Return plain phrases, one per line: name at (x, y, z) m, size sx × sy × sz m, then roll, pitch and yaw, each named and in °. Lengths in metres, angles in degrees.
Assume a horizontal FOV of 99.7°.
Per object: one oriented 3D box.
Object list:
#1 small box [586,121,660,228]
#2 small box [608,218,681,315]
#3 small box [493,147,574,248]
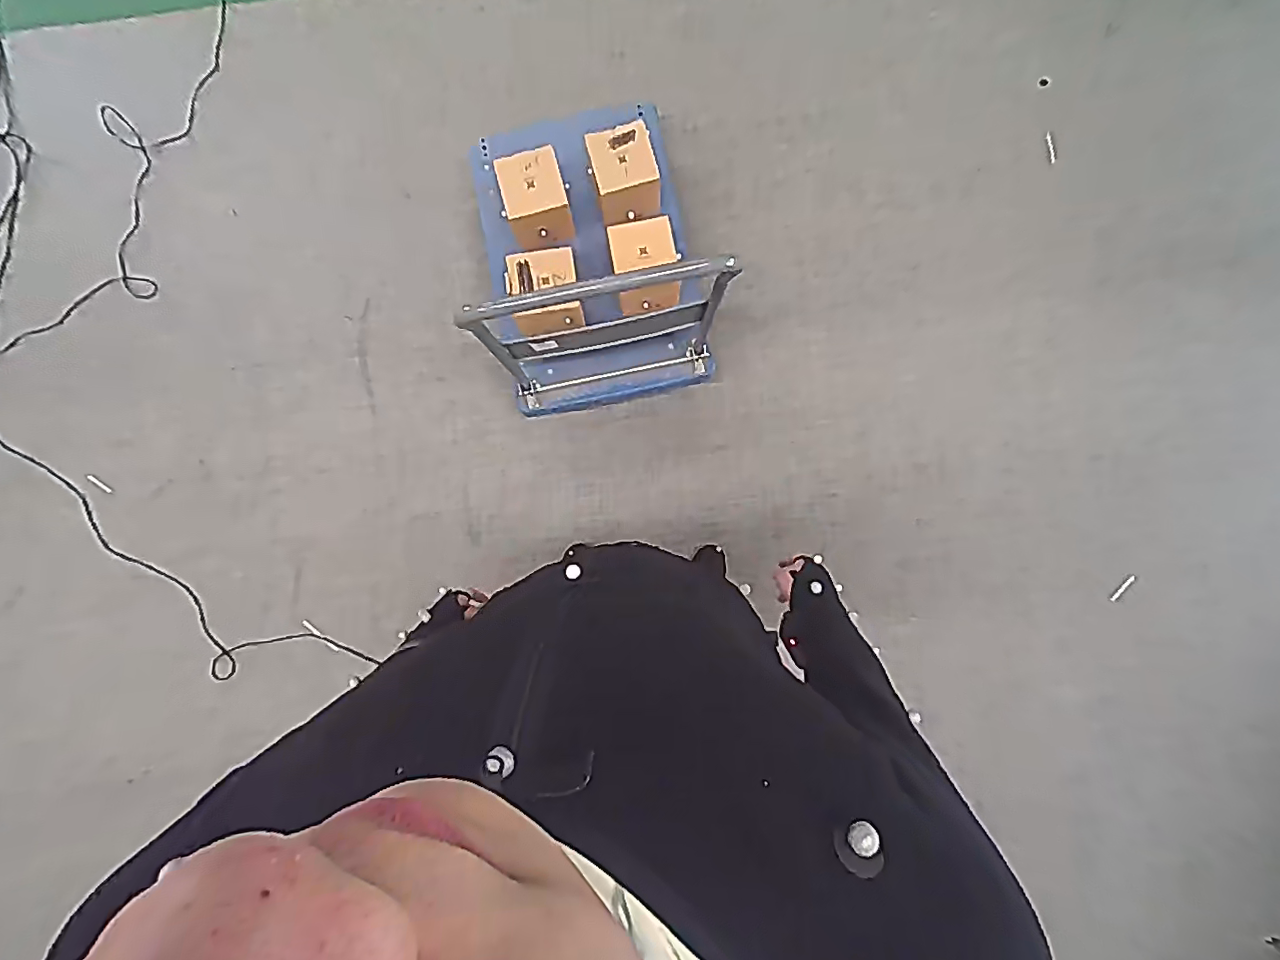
small box at (-0.045, -0.839, 1.499) m, size 0.168 × 0.176 × 0.179 m, roll -15°, pitch 85°, yaw 1°
small box at (0.010, -0.575, 1.473) m, size 0.168 × 0.176 × 0.179 m, roll -11°, pitch 85°, yaw 0°
small box at (-0.287, -0.770, 1.498) m, size 0.168 × 0.176 × 0.179 m, roll -15°, pitch 84°, yaw -1°
